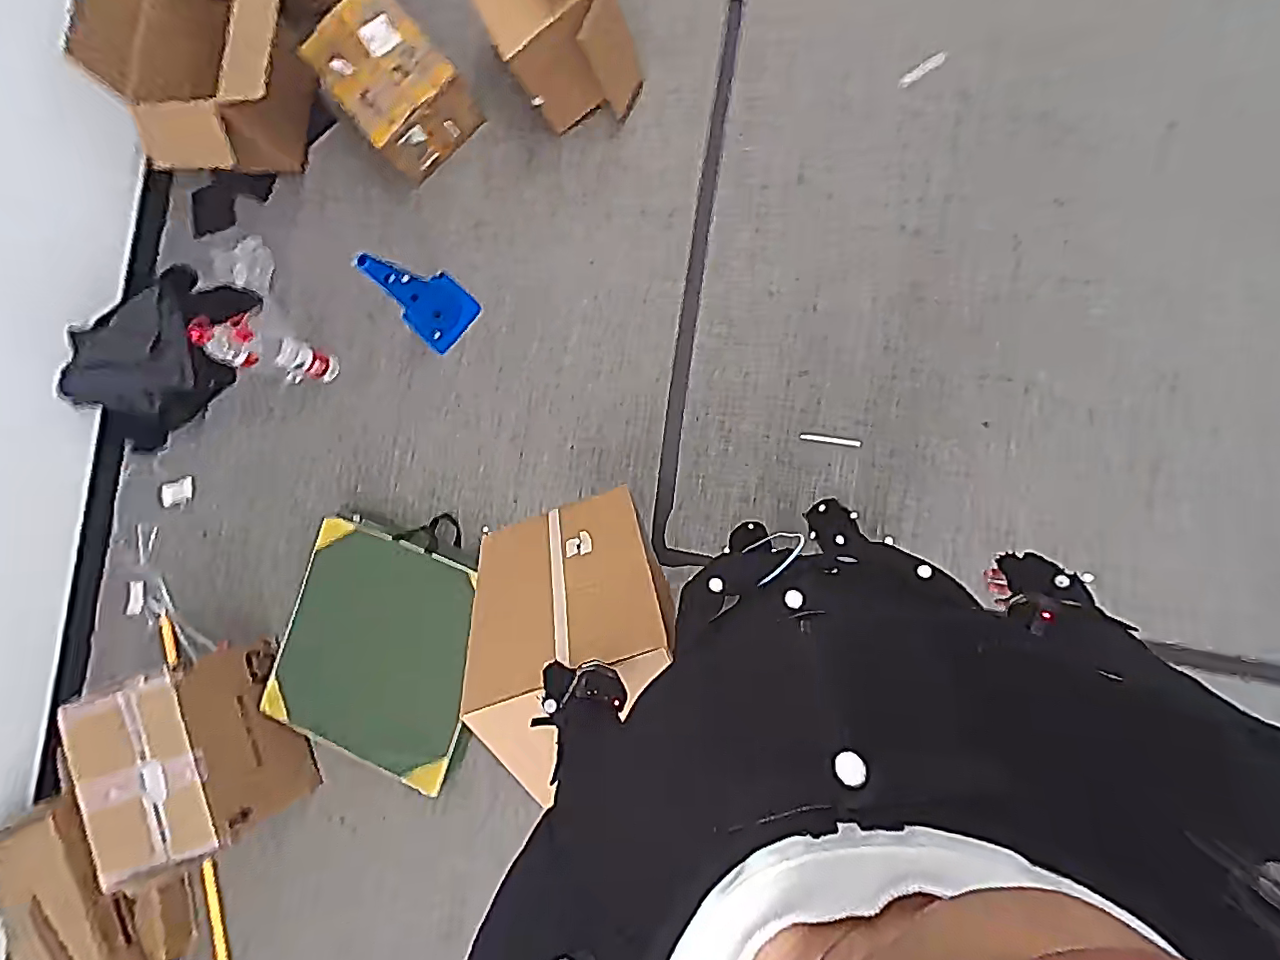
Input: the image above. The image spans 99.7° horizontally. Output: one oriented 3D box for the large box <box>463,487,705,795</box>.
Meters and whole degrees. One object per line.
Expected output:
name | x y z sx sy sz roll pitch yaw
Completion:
large box | -0.100 0.284 1.016 0.320 0.408 0.320 -17 124 2
